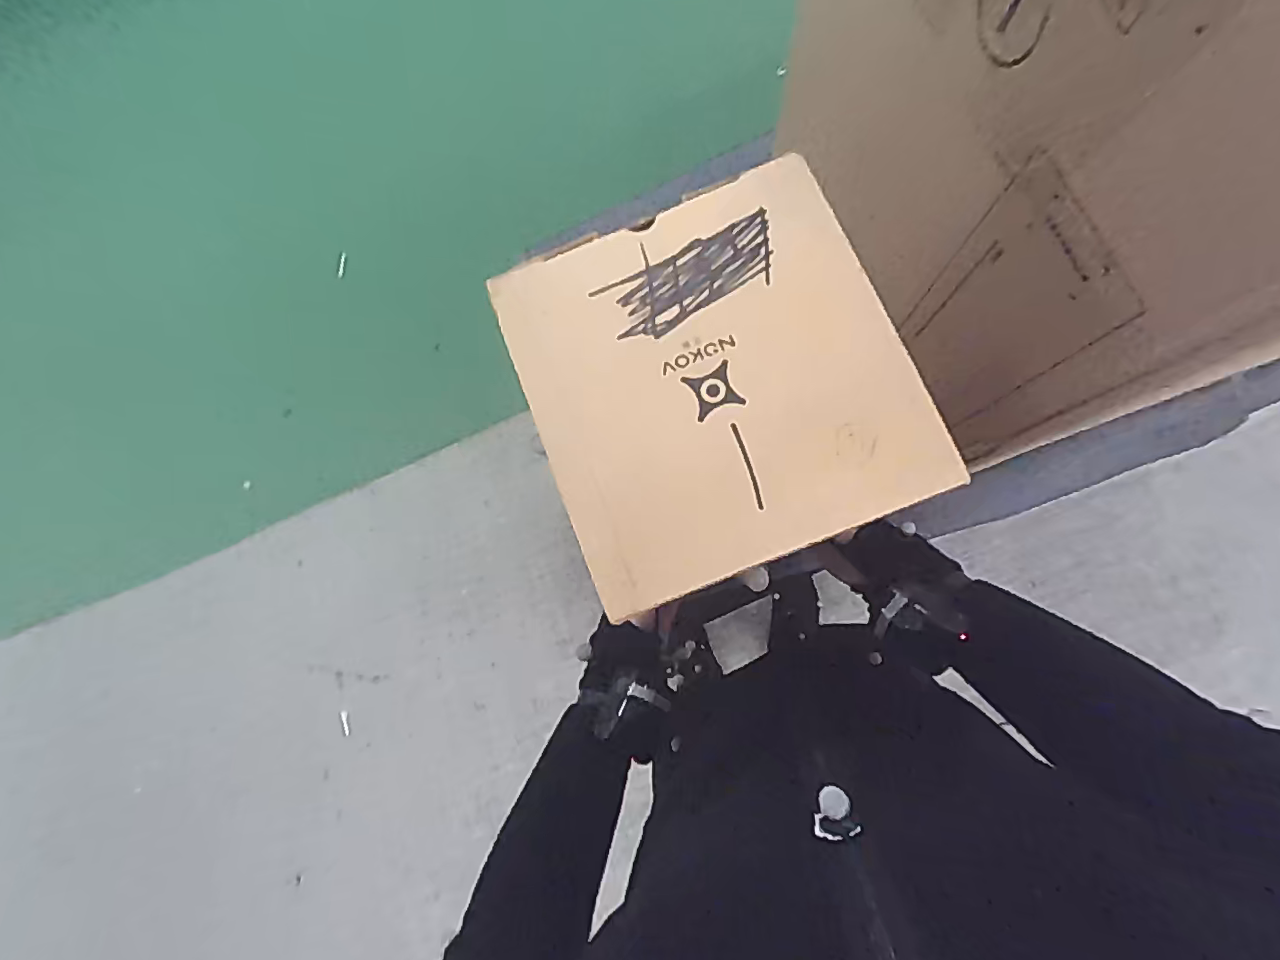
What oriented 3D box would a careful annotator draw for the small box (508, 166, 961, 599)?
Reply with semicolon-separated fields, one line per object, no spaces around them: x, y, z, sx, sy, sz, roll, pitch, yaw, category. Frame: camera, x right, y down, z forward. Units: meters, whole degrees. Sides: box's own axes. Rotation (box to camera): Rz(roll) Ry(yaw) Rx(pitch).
0.044;-0.037;0.333;0.168;0.176;0.179;-22;78;2;small box
